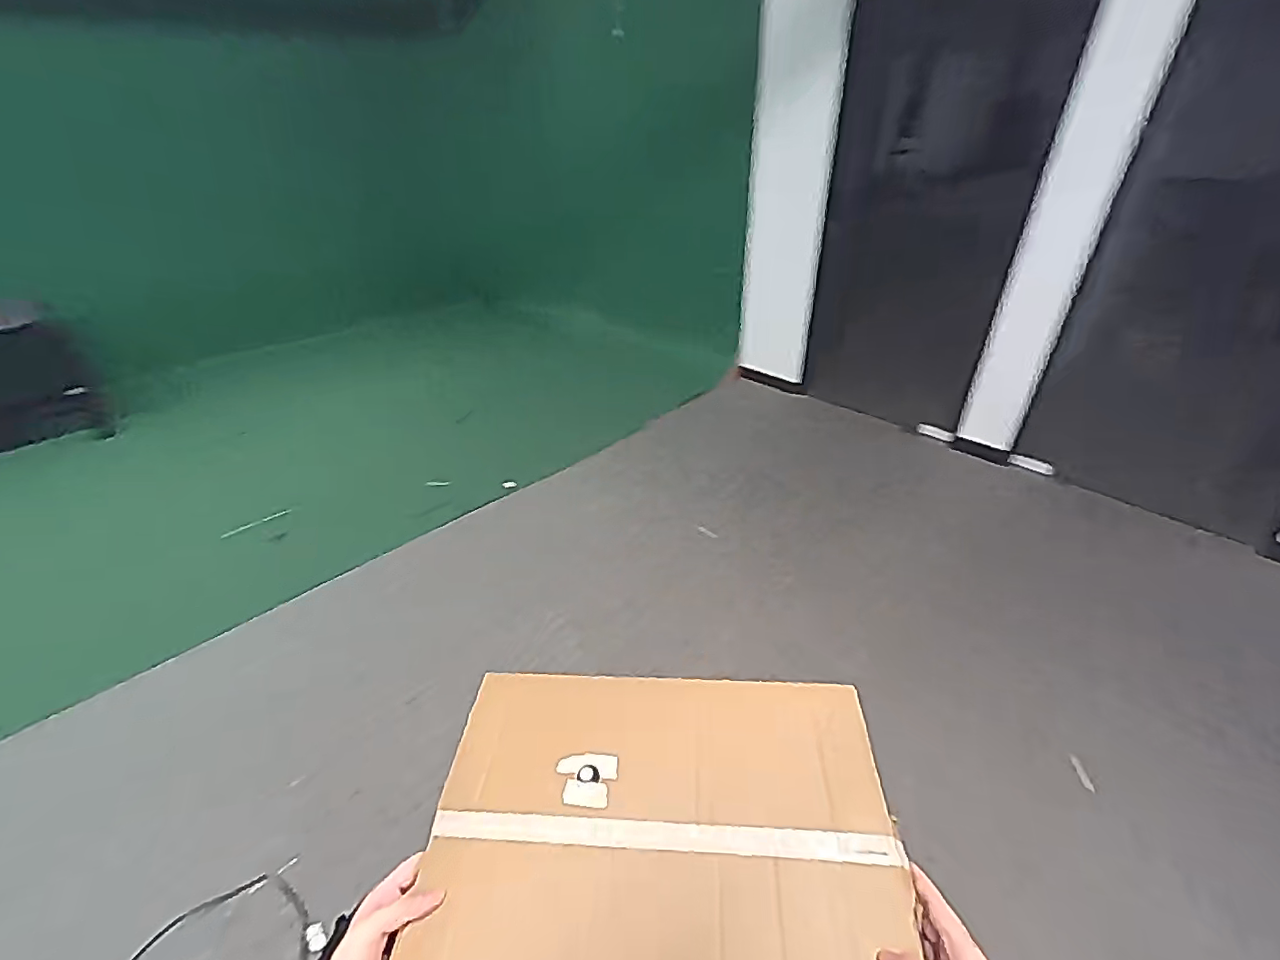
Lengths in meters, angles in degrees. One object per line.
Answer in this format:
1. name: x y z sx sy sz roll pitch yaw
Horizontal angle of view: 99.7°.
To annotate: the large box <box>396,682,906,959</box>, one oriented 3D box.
1. large box: 0.022 0.437 0.572 0.408 0.320 0.320 -2 38 6
